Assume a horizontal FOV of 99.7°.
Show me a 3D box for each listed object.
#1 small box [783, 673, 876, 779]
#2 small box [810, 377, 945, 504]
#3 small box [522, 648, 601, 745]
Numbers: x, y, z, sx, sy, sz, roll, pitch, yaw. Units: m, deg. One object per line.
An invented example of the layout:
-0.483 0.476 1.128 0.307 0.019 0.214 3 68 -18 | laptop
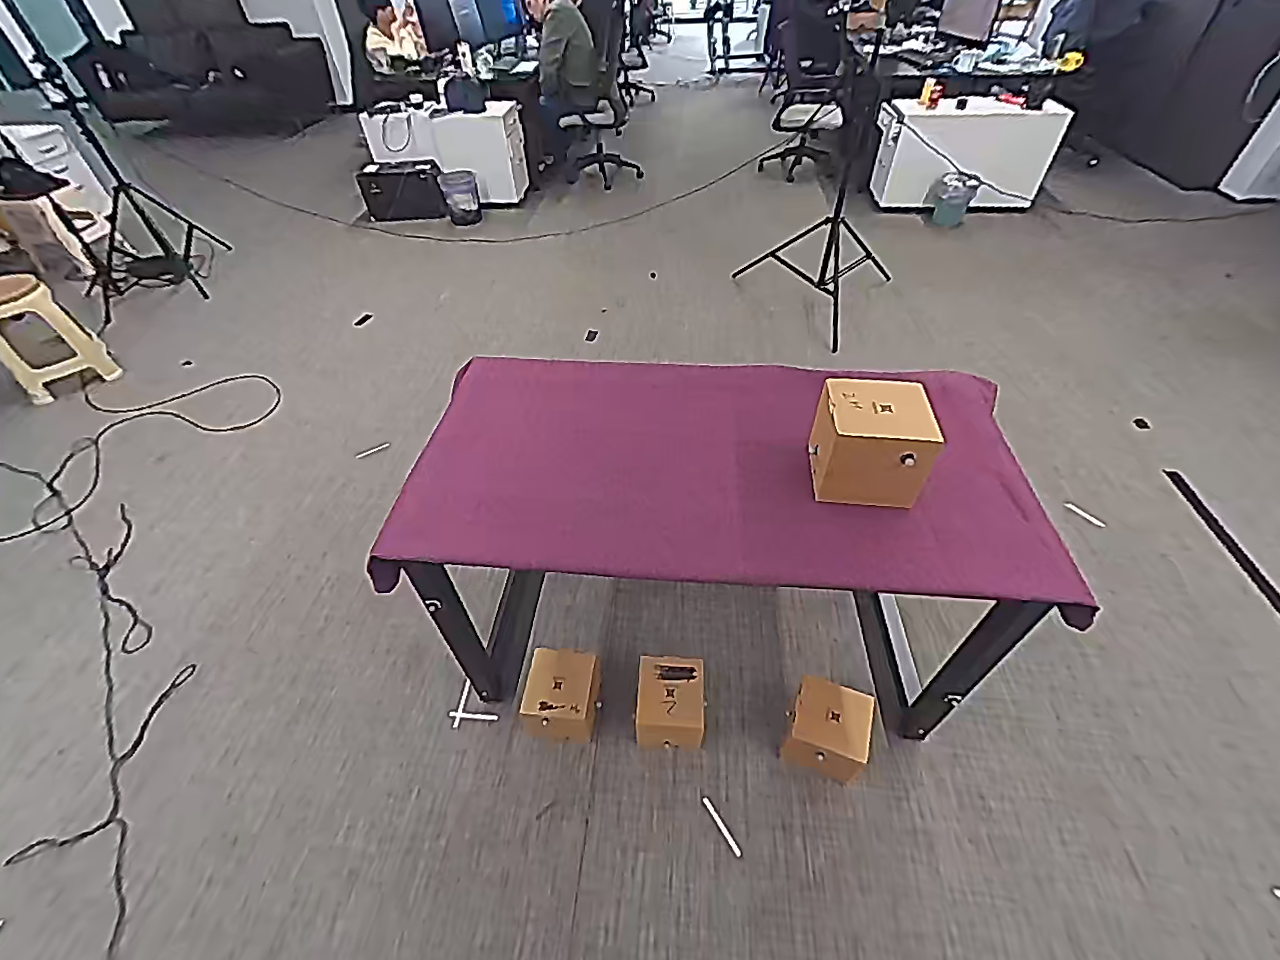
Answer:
0.470 0.620 1.352 0.179 0.176 0.168 14 49 17 | small box
0.426 -0.071 1.004 0.179 0.176 0.168 4 45 6 | small box
-0.198 0.570 1.424 0.168 0.176 0.179 4 45 6 | small box
